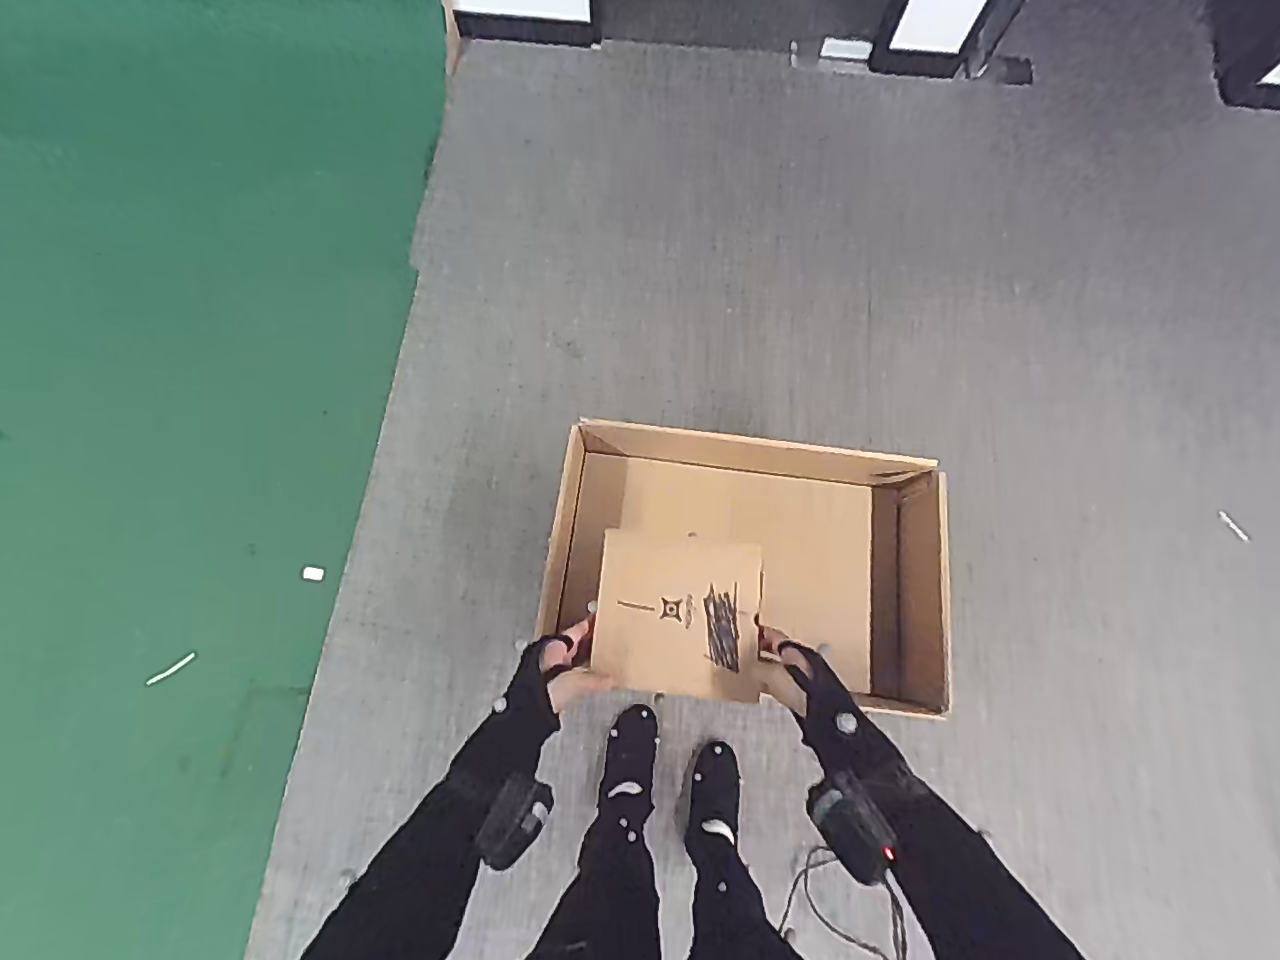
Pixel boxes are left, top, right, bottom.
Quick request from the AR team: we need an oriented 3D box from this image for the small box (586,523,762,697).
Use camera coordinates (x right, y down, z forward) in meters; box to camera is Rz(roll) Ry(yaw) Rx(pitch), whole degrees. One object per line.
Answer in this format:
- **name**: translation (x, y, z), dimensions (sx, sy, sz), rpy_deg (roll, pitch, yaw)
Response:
- **small box**: translation (0.038, 0.158, 0.645), dimensions (0.179, 0.176, 0.168), rpy_deg (5, 70, 2)
